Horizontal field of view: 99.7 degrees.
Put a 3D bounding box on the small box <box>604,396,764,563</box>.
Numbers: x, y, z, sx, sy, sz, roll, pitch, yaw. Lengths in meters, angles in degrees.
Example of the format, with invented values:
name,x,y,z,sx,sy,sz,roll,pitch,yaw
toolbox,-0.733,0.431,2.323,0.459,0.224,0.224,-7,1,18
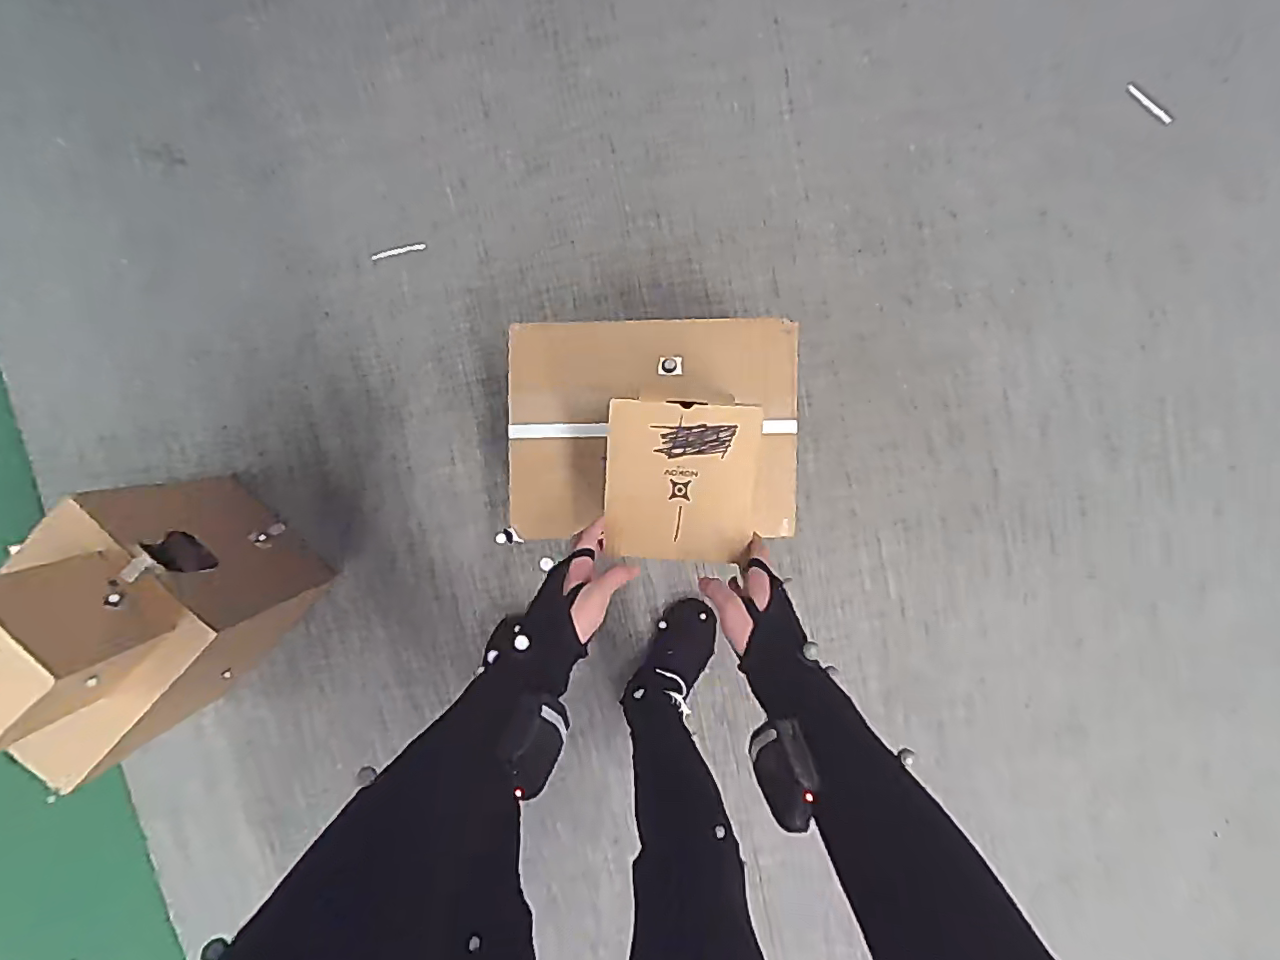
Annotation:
name,x,y,z,sx,sy,sz,roll,pitch,yaw
small box,0.048,-0.009,0.661,0.168,0.176,0.179,3,98,2

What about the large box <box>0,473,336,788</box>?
name,x,y,z,sx,sy,sz,roll,pitch,yaw
large box,-0.879,0.243,1.002,0.320,0.320,0.408,45,97,-2
